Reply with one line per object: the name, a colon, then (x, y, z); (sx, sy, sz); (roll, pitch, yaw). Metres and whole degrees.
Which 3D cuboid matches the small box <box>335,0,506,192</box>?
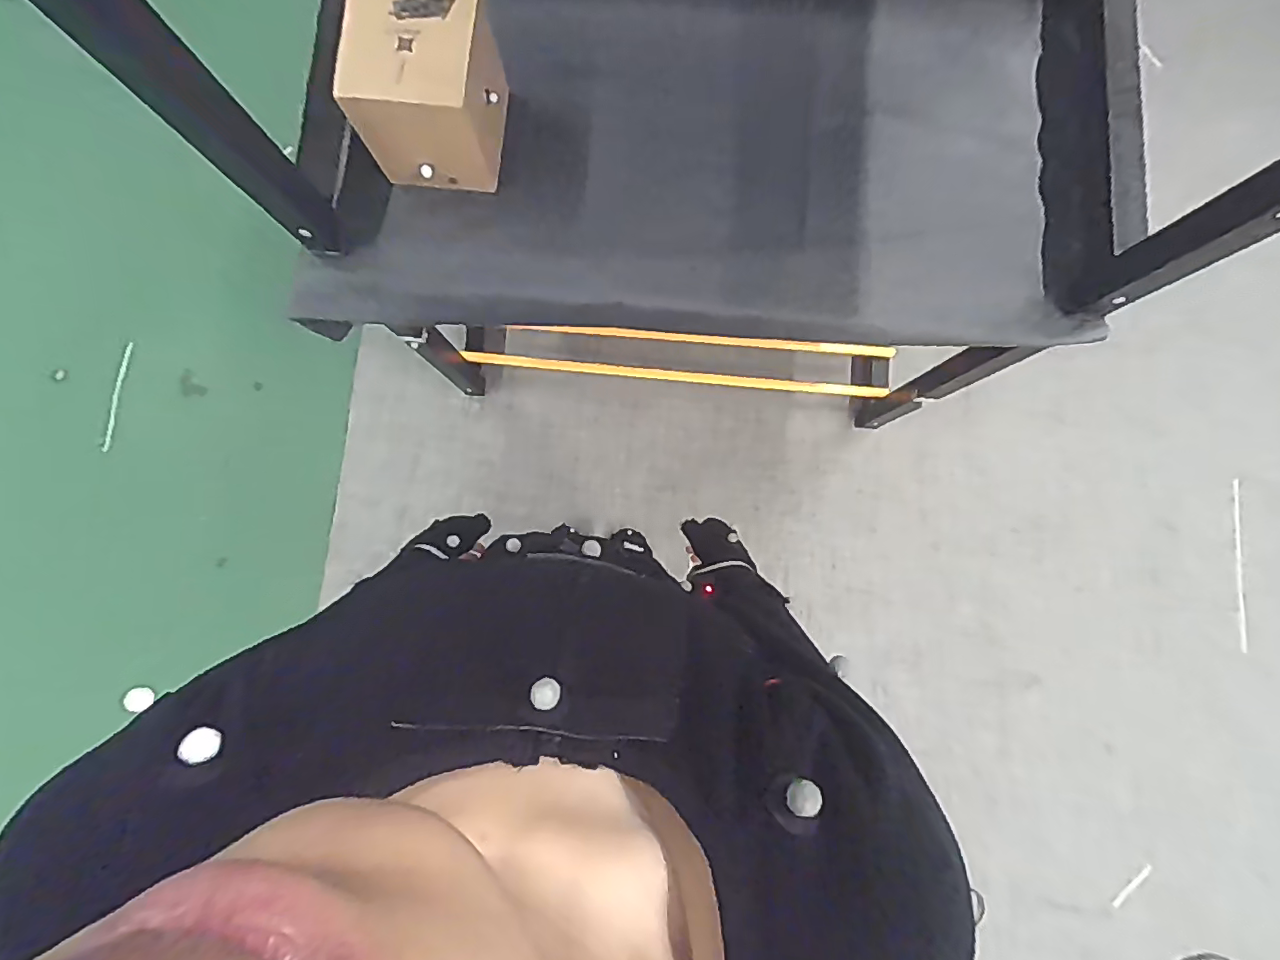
small box: (-0.293, -0.545, 0.761); (0.168, 0.176, 0.179); (5, 84, -1)
